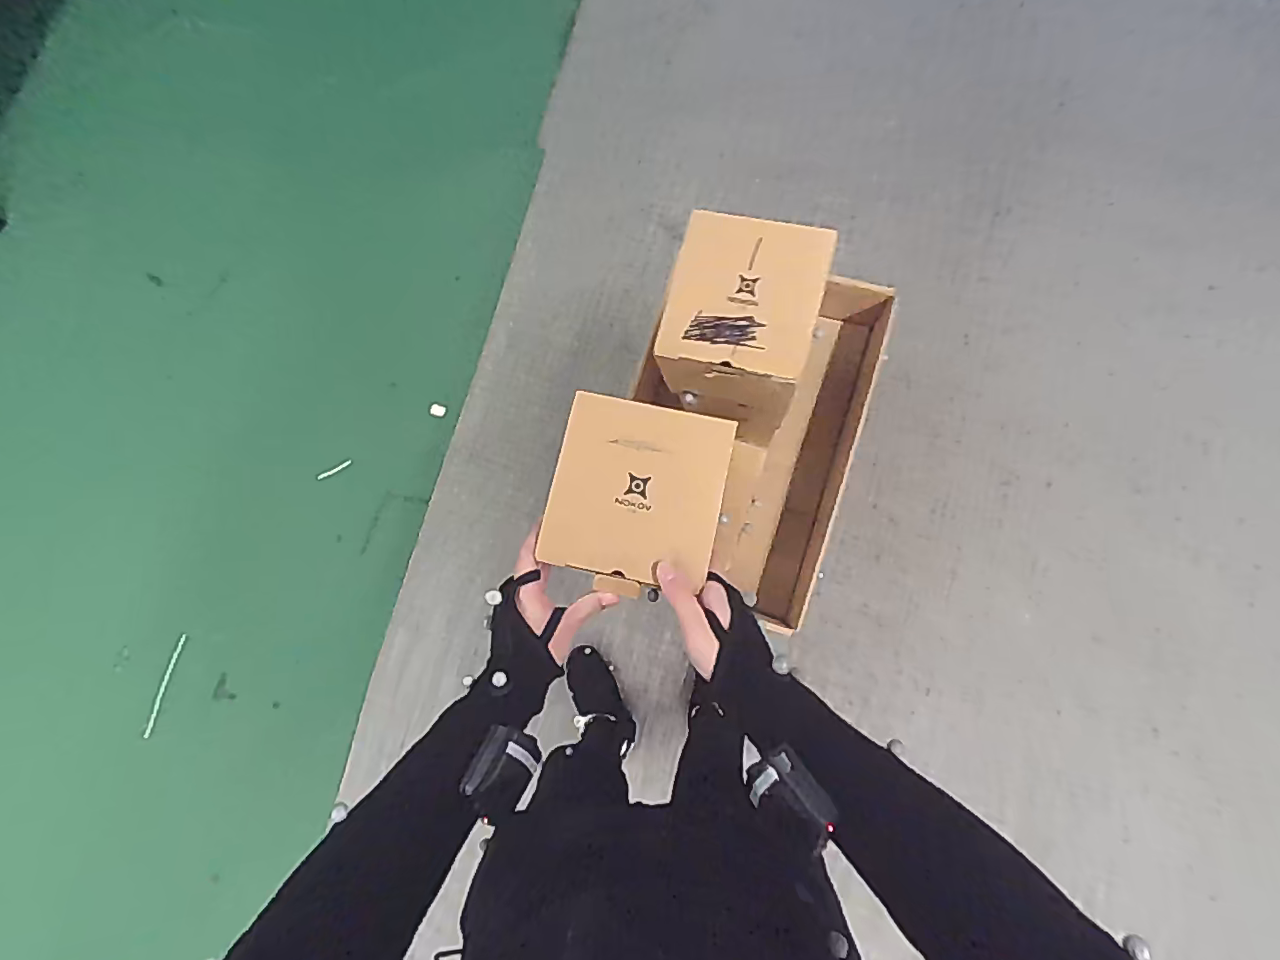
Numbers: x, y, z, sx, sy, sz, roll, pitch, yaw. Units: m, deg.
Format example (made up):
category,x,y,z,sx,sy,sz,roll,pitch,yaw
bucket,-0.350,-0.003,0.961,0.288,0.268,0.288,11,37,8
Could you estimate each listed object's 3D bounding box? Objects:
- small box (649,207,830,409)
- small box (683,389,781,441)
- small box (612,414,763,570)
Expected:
category,x,y,z,sx,sy,sz,roll,pitch,yaw
small box,0.122,-0.200,0.671,0.168,0.176,0.179,14,86,11
small box,0.186,-0.186,0.994,0.168,0.176,0.179,16,87,11
small box,0.076,0.025,0.805,0.168,0.176,0.179,18,84,12
